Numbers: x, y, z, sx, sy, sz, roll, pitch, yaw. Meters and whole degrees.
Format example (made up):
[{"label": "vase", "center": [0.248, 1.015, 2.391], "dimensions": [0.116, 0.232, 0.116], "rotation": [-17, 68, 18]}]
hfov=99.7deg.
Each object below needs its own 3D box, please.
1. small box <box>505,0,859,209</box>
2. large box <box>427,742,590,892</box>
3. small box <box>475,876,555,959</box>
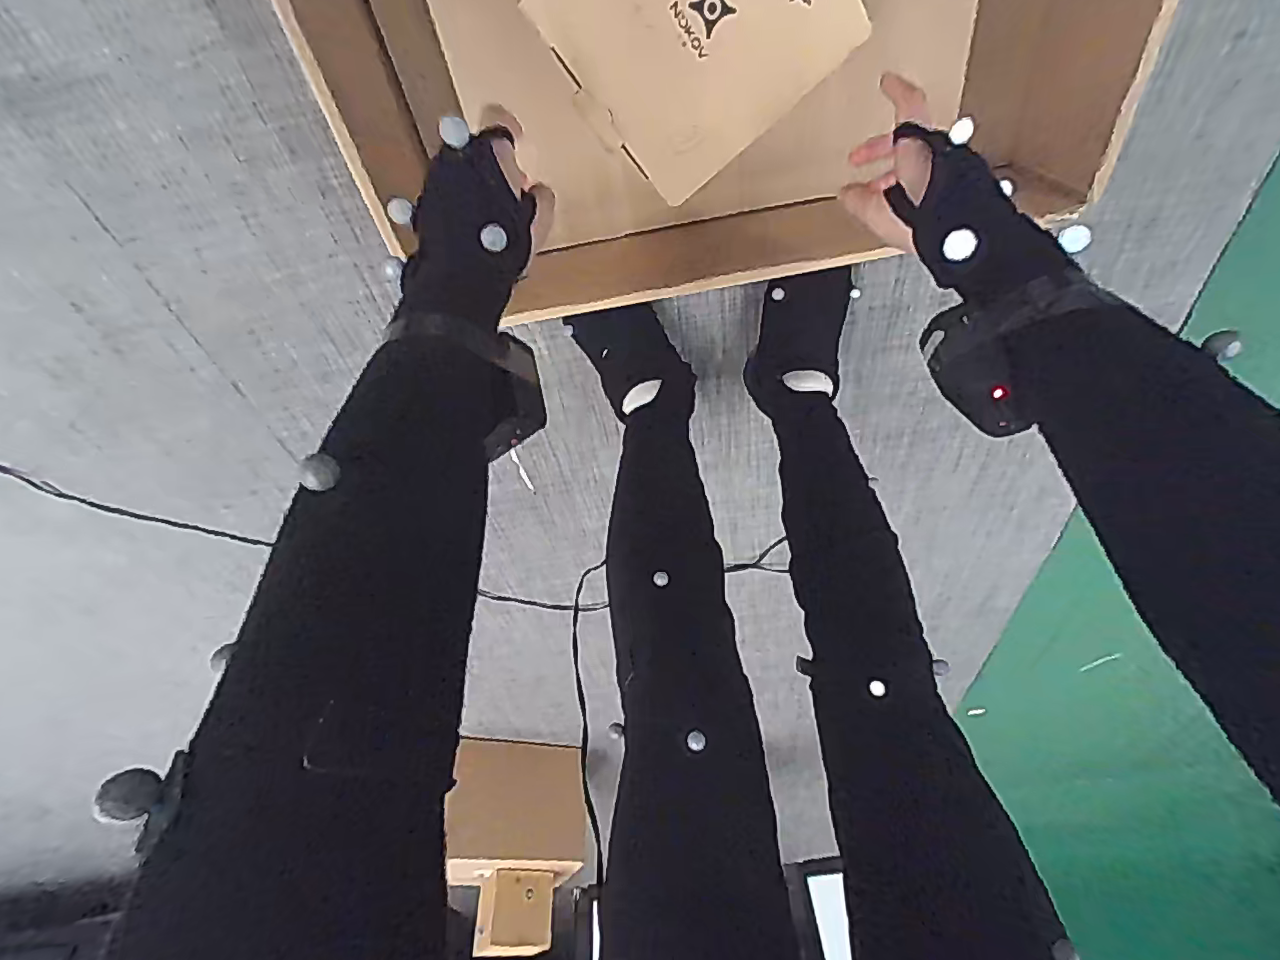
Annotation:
[{"label": "small box", "center": [0.028, -0.352, 0.408], "dimensions": [0.179, 0.176, 0.168], "rotation": [-32, 127, 24]}, {"label": "large box", "center": [-0.388, 1.028, 1.643], "dimensions": [0.408, 0.320, 0.320], "rotation": [14, 130, -15]}, {"label": "small box", "center": [-0.338, 1.210, 1.482], "dimensions": [0.168, 0.176, 0.179], "rotation": [17, 130, -19]}]
